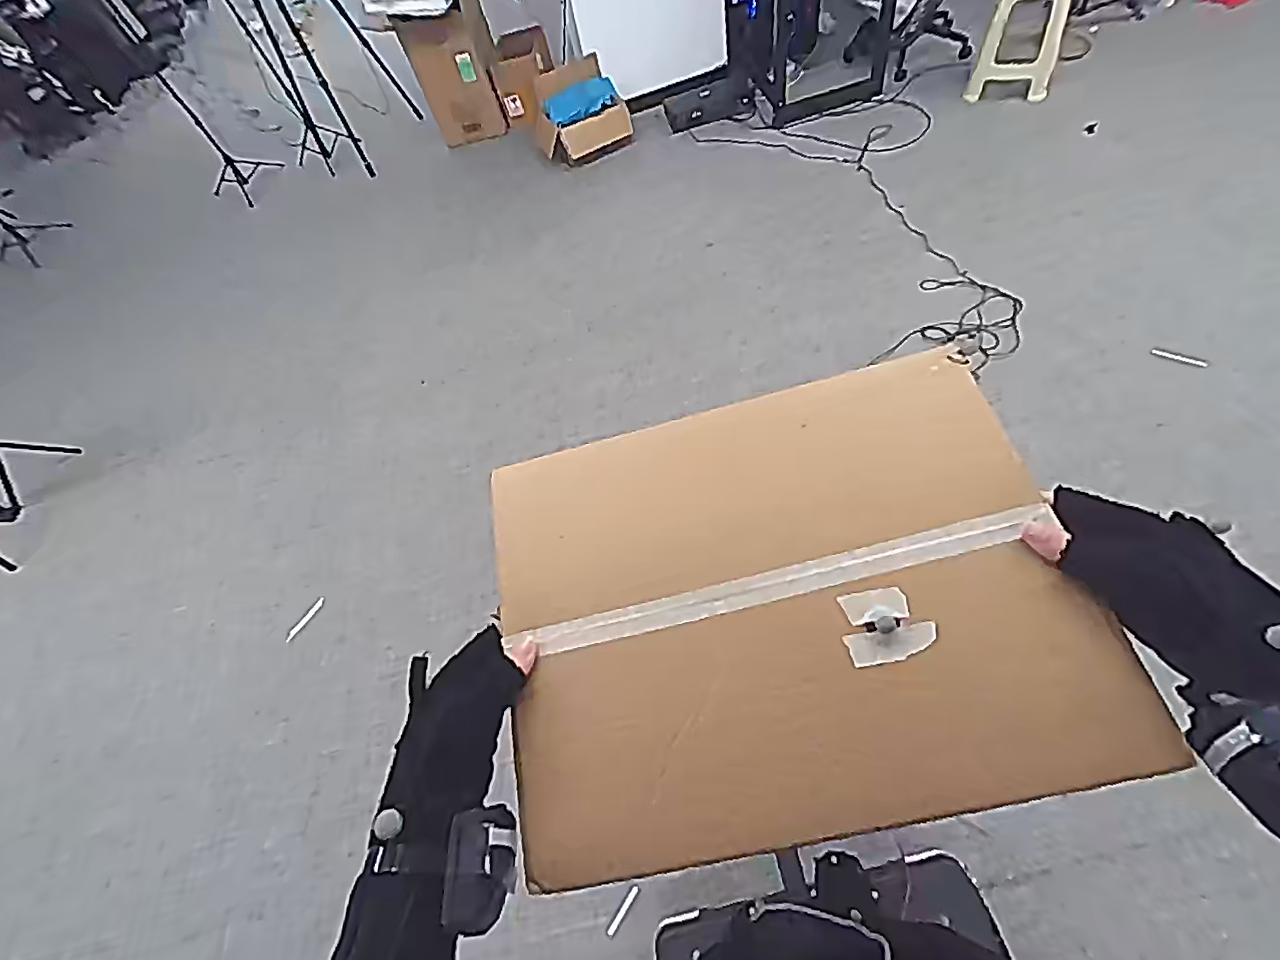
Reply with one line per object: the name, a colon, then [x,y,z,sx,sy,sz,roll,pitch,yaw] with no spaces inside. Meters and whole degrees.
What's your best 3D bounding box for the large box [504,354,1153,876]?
large box: [0.123,0.139,0.544,0.408,0.320,0.320,-15,65,5]
